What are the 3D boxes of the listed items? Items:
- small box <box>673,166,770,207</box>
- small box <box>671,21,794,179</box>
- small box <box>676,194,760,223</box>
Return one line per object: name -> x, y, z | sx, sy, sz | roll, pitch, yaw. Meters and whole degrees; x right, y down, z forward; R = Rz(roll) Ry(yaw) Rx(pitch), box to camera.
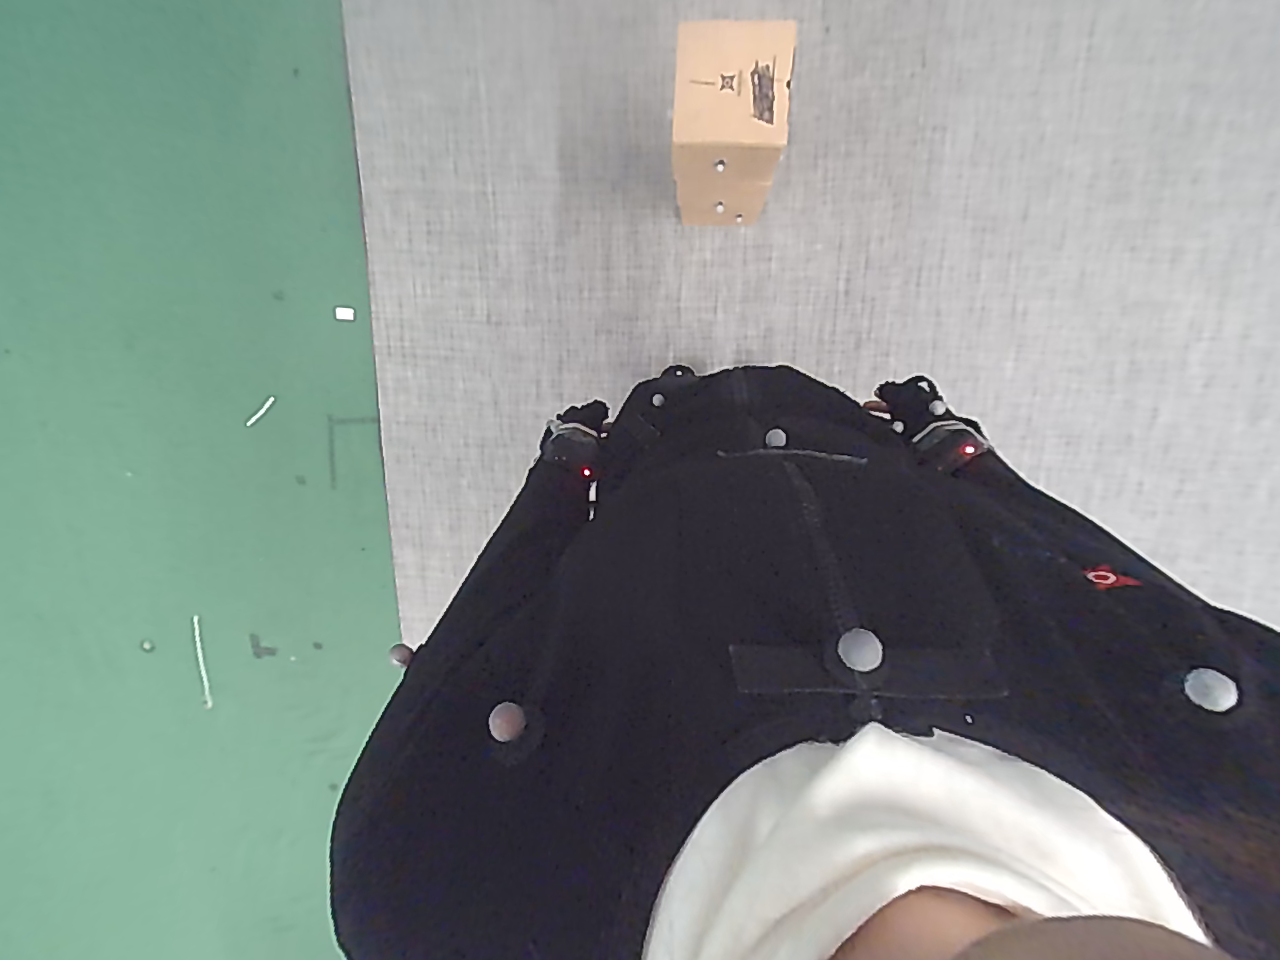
small box -> 0.159, -0.643, 1.048 | 0.179, 0.176, 0.168 | 6, 103, 3
small box -> 0.142, -0.610, 0.887 | 0.179, 0.176, 0.168 | 1, 103, 3
small box -> 0.174, -0.684, 1.206 | 0.179, 0.176, 0.168 | 2, 102, 6
